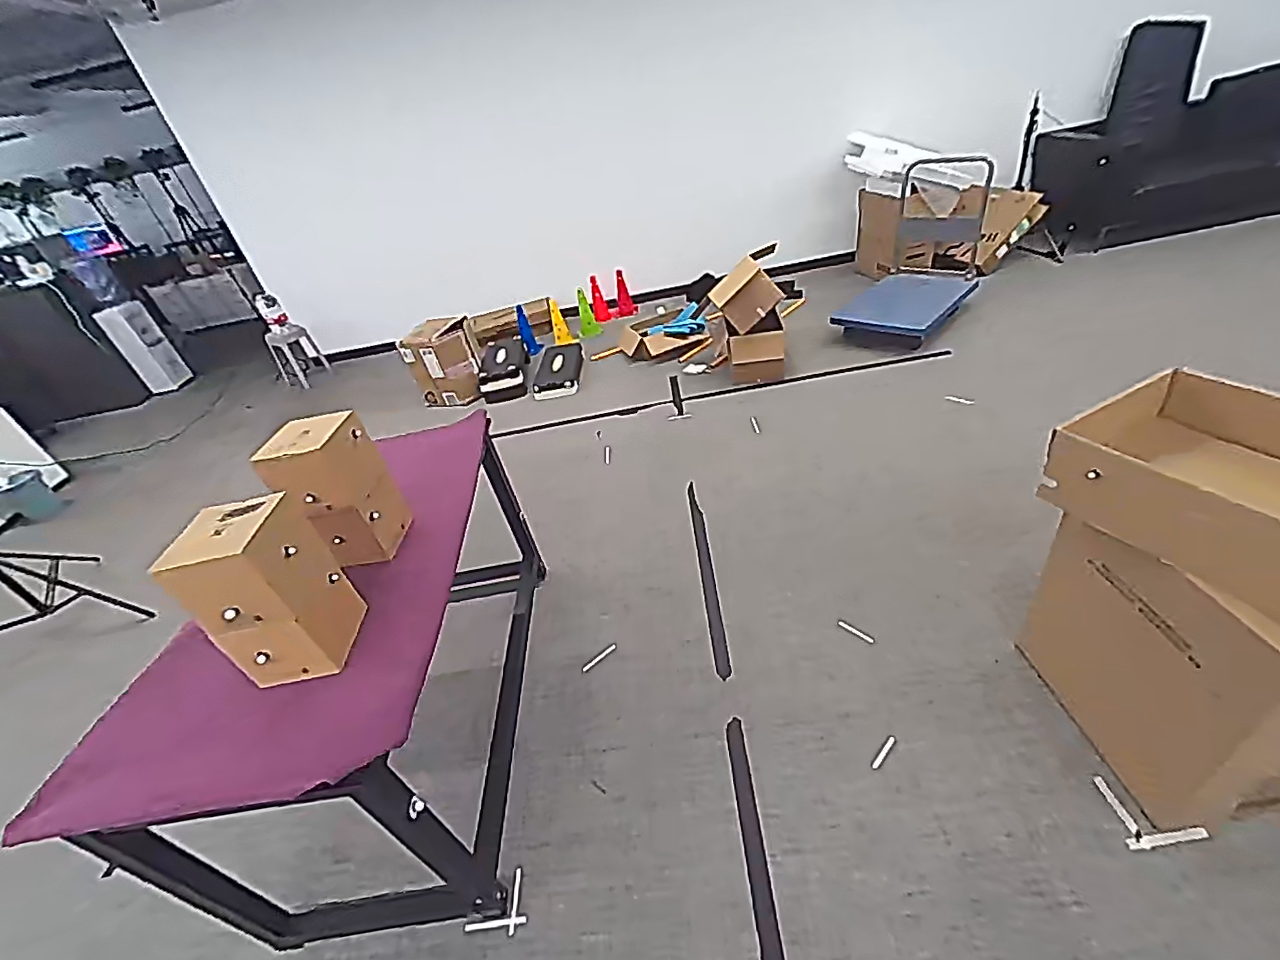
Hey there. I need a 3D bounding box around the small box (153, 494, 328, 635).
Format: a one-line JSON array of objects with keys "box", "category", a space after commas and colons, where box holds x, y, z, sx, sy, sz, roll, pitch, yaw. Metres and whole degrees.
[{"box": [-0.715, 0.155, 0.999, 0.168, 0.176, 0.179, -12, 35, 1], "category": "small box"}]

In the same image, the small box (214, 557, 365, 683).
[{"box": [-0.690, 0.289, 1.092, 0.168, 0.176, 0.179, -12, 35, 1], "category": "small box"}]

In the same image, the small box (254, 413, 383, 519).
[{"box": [-0.728, -0.031, 1.254, 0.168, 0.176, 0.179, -9, 36, 6], "category": "small box"}]
